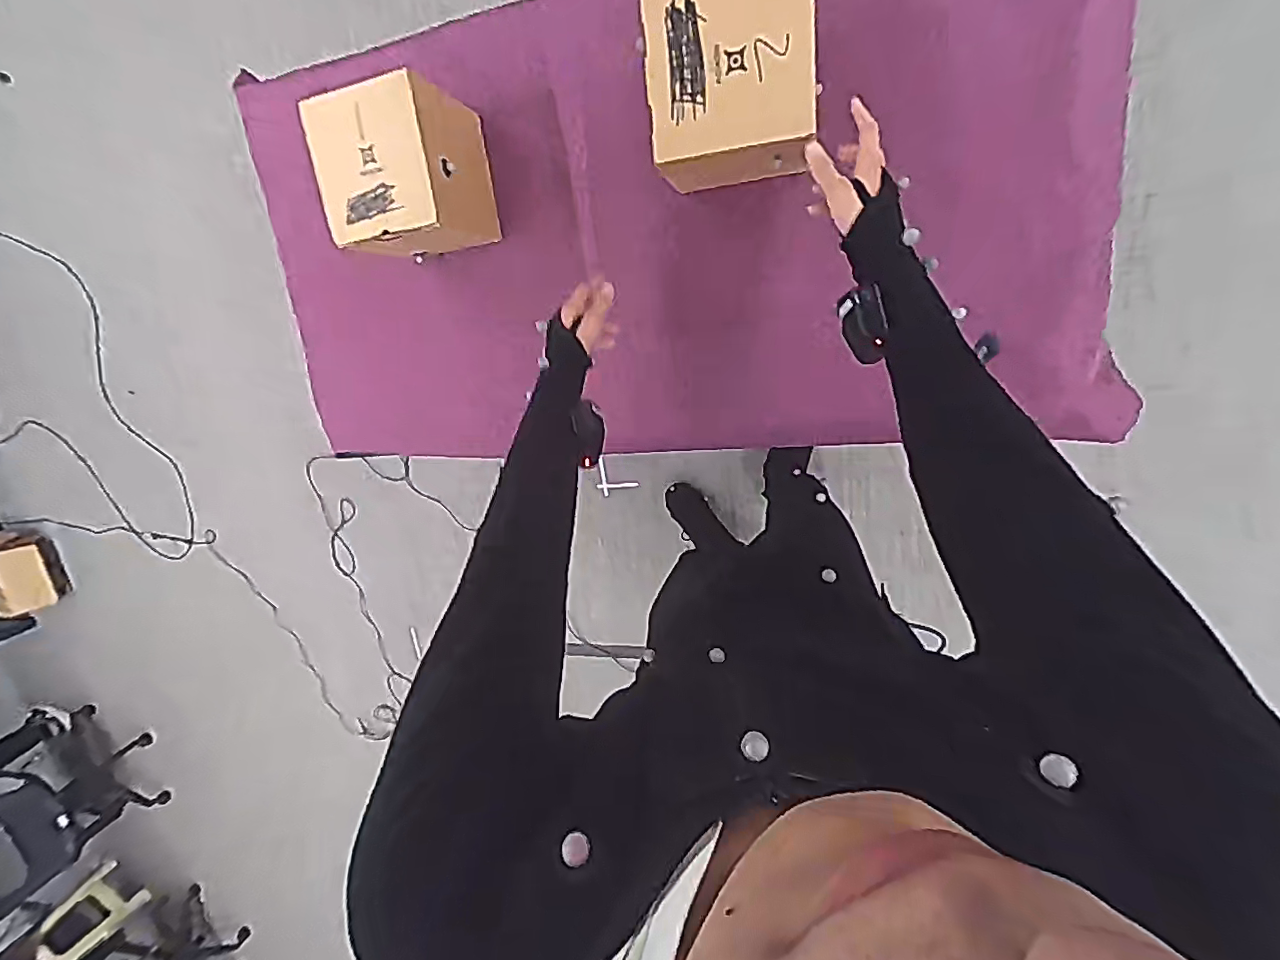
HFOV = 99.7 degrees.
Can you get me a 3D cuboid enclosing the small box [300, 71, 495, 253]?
[{"bbox_3d":[-0.325,-0.426,0.763,0.168,0.176,0.179,-4,105,16],"label":"small box"}]
